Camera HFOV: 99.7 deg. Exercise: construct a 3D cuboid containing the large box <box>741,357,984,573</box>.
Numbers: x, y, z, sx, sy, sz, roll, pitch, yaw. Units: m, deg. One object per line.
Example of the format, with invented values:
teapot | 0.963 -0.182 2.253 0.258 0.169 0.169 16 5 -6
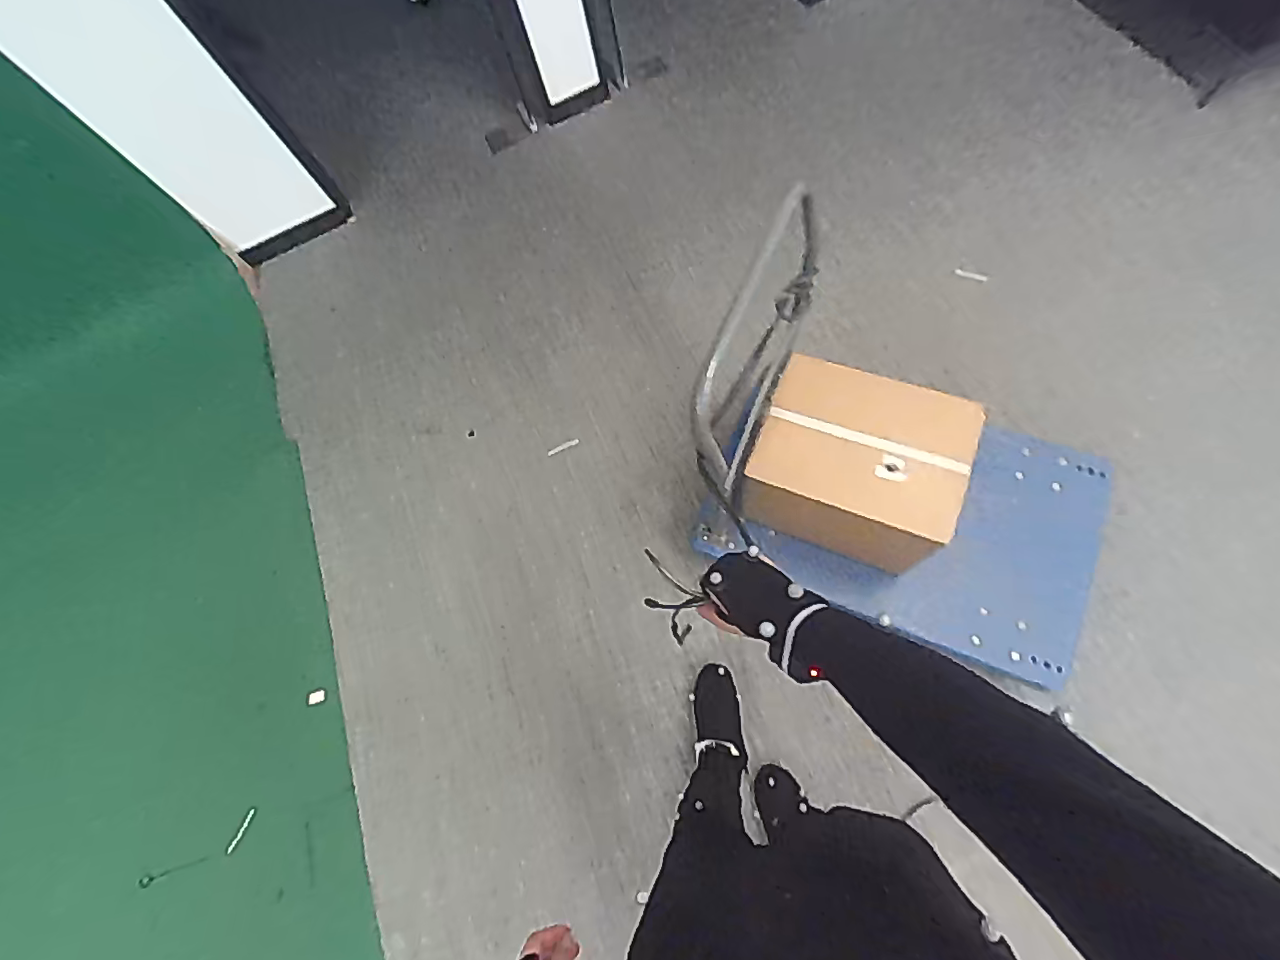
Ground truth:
large box | 0.472 -0.025 1.228 0.408 0.320 0.320 20 75 16
